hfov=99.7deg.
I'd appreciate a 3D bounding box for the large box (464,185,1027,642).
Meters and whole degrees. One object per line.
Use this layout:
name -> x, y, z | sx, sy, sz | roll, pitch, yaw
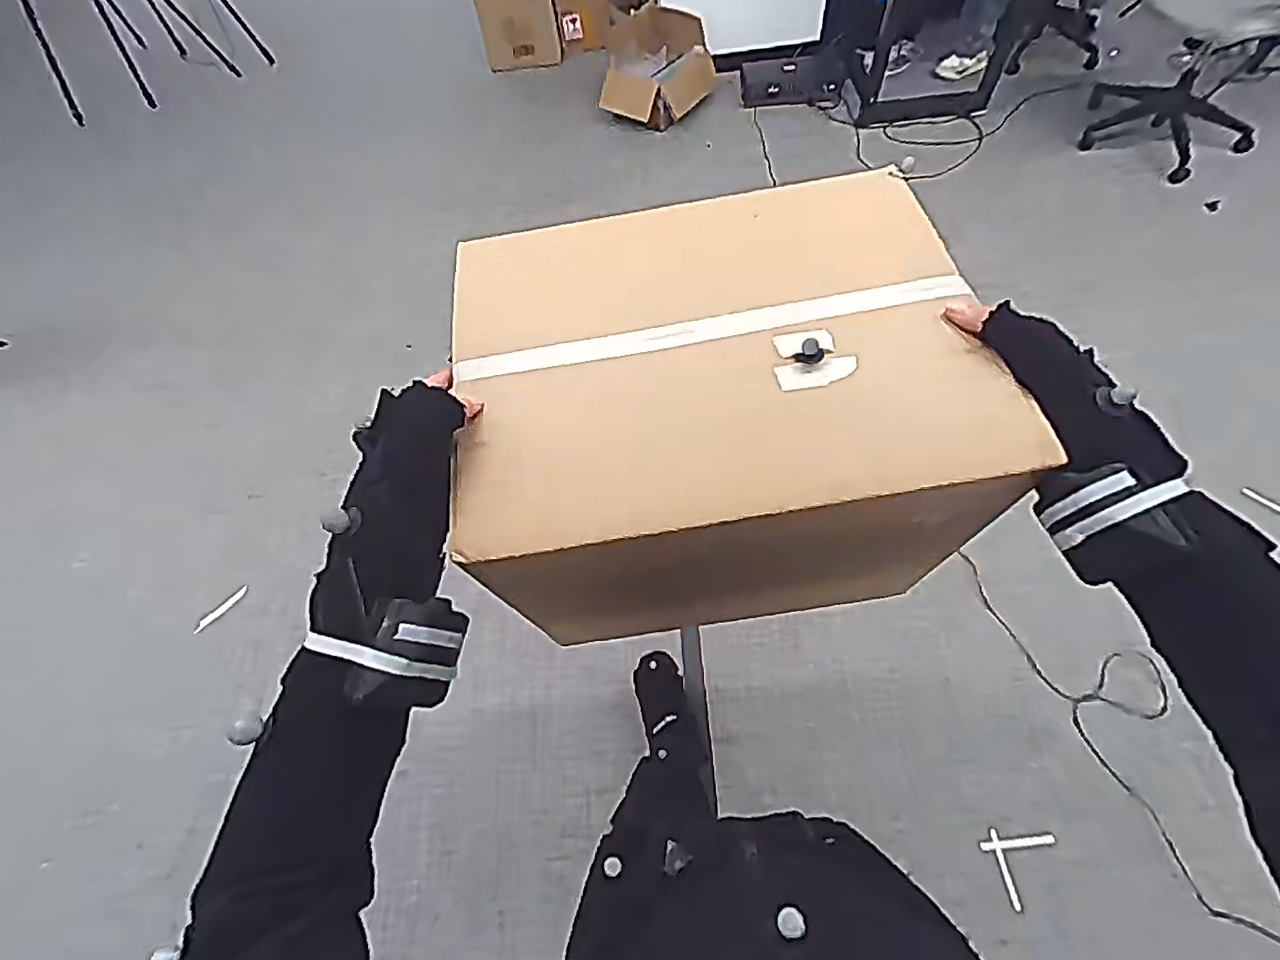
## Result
large box -> 0.064, -0.043, 0.572 | 0.408, 0.320, 0.320 | -10, 63, 1
